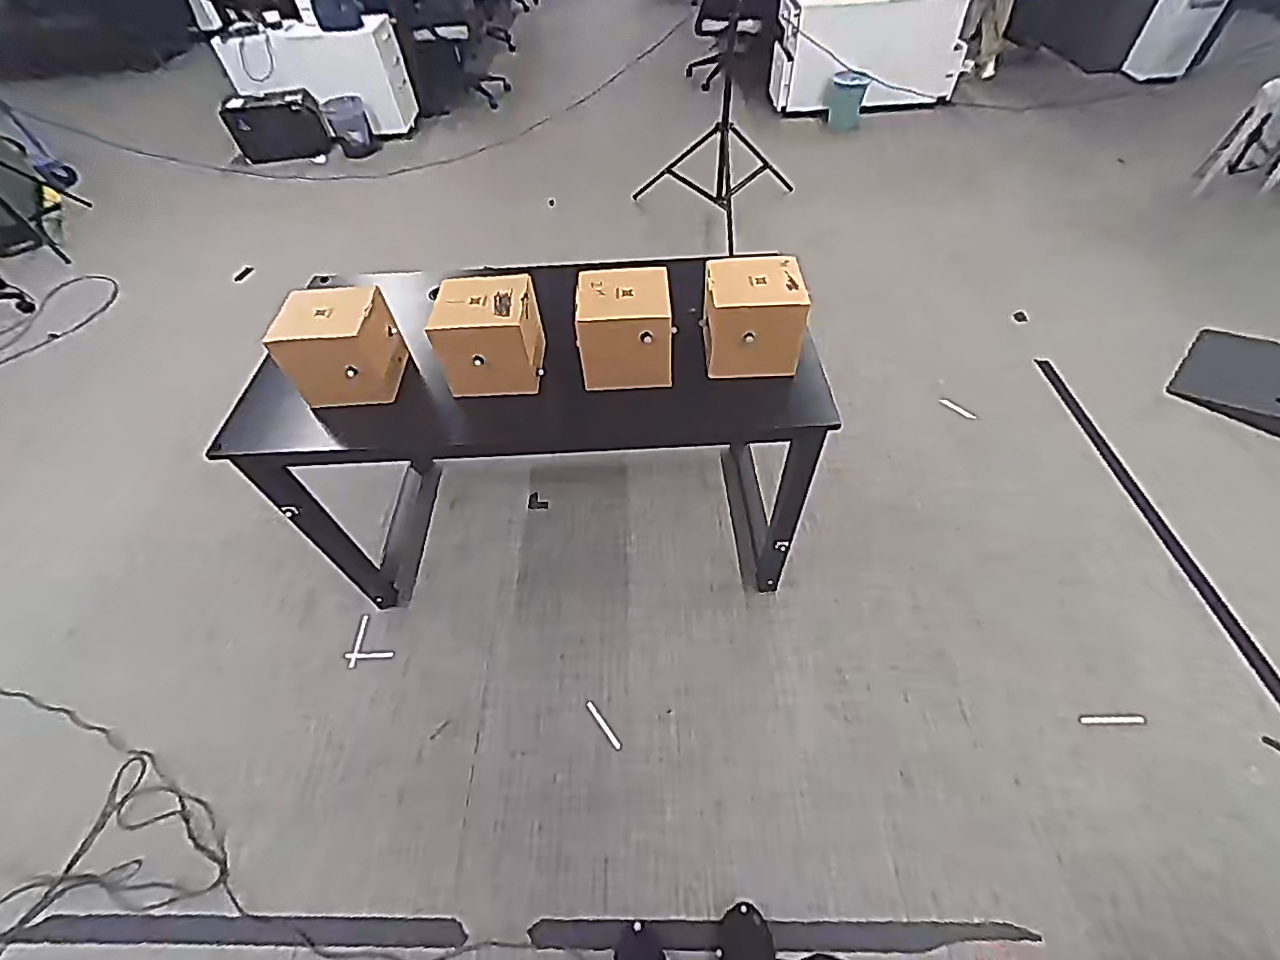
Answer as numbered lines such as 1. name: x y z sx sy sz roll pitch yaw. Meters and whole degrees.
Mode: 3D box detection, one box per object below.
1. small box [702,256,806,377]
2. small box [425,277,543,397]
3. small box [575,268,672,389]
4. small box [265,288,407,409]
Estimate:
1. small box: 0.218 -0.322 1.080 0.179 0.176 0.168 -3 52 3
2. small box: -0.299 -0.284 1.085 0.179 0.176 0.168 -3 52 3
3. small box: -0.030 -0.298 1.077 0.179 0.176 0.168 -3 51 1
4. small box: -0.594 -0.261 1.087 0.179 0.176 0.168 -5 51 0
